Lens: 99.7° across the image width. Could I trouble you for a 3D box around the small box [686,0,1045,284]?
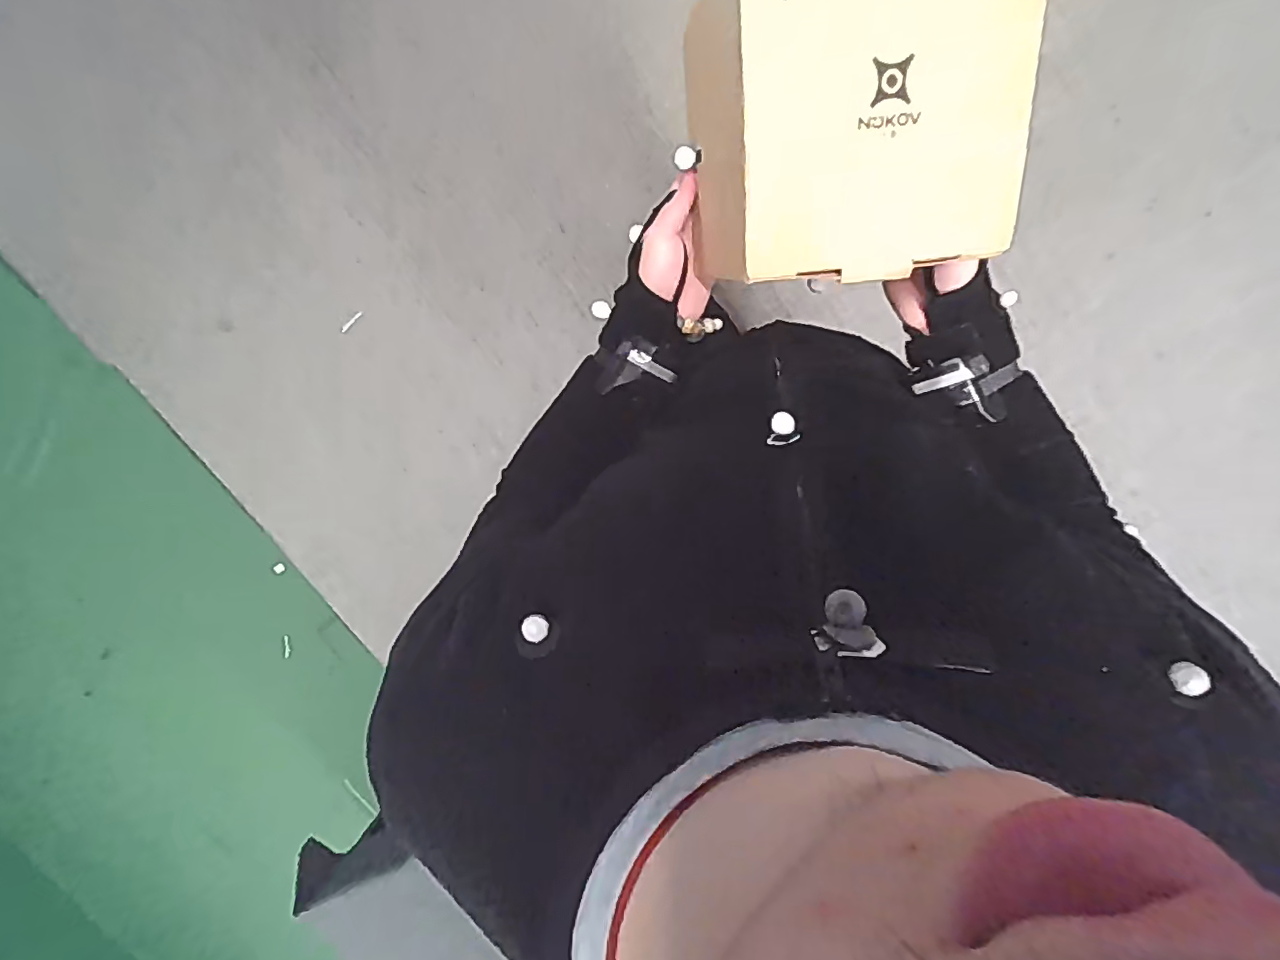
[{"bbox_3d":[0.128,-0.240,0.373,0.168,0.176,0.179,-7,113,-4],"label":"small box"}]
